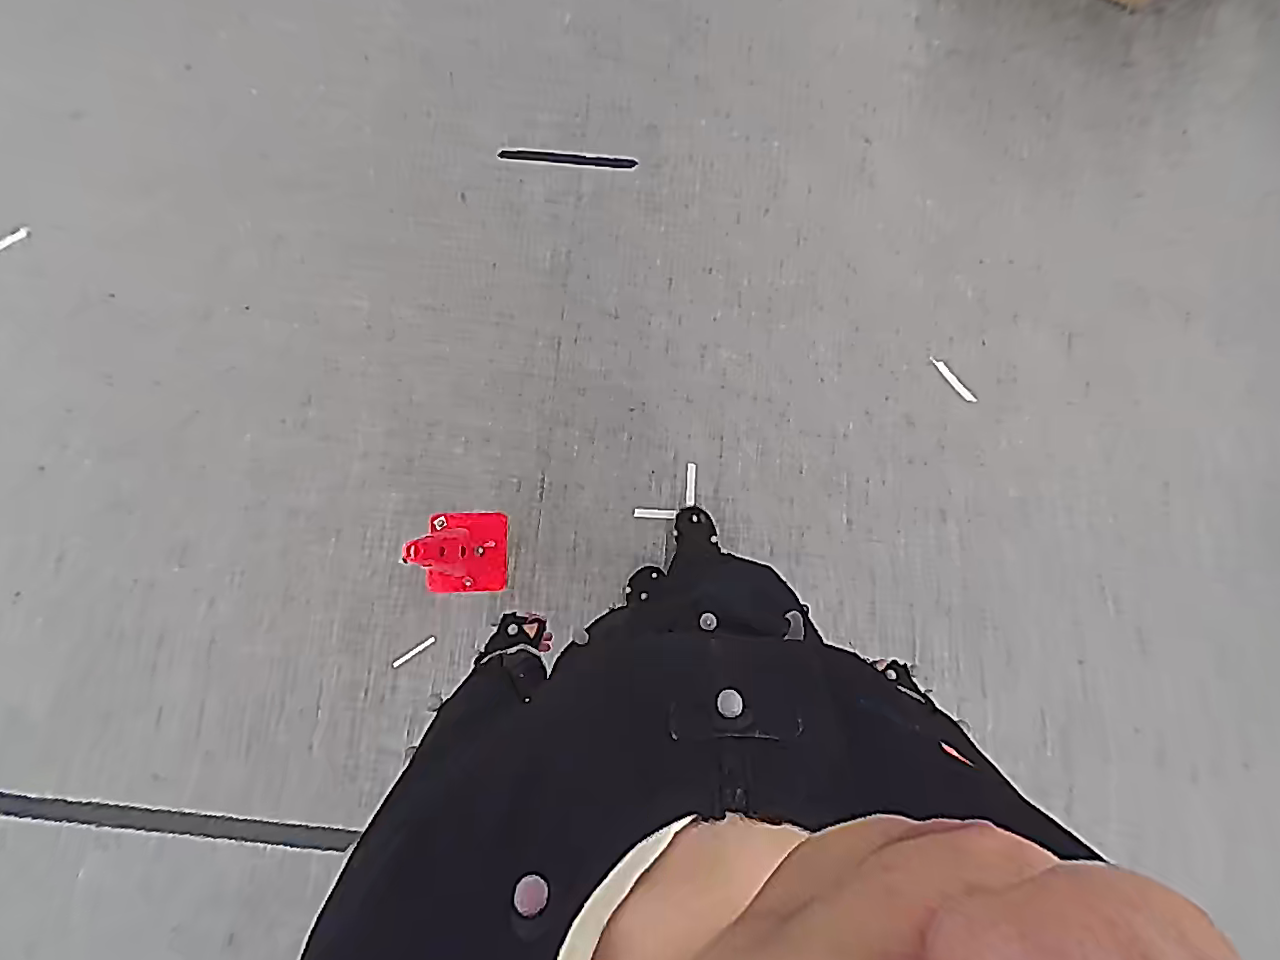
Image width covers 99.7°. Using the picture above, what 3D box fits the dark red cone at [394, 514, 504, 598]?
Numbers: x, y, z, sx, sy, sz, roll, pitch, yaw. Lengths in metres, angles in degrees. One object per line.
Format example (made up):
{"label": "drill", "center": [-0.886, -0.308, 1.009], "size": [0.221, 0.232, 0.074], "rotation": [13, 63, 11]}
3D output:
{"label": "dark red cone", "center": [-0.431, 0.166, 1.162], "size": [0.202, 0.394, 0.201], "rotation": [-2, 83, -1]}
